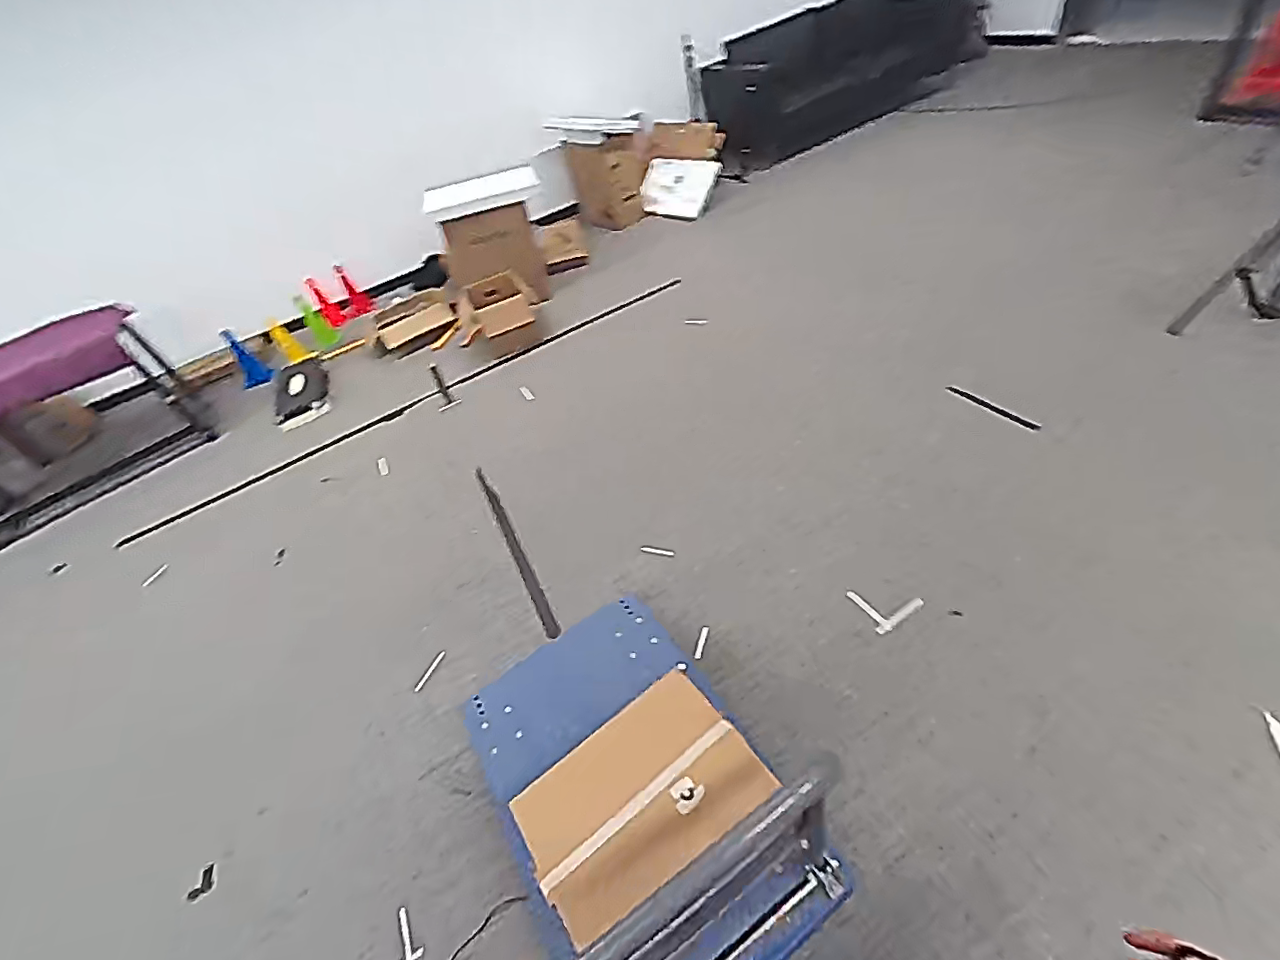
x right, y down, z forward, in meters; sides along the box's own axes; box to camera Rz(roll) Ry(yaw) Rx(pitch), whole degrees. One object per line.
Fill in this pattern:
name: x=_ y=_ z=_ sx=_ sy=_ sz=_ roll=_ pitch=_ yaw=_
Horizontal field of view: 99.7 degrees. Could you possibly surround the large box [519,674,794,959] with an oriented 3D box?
large box: x=0.047 y=0.679 z=1.049 sx=0.408 sy=0.320 sz=0.320 roll=-33 pitch=46 yaw=-18
